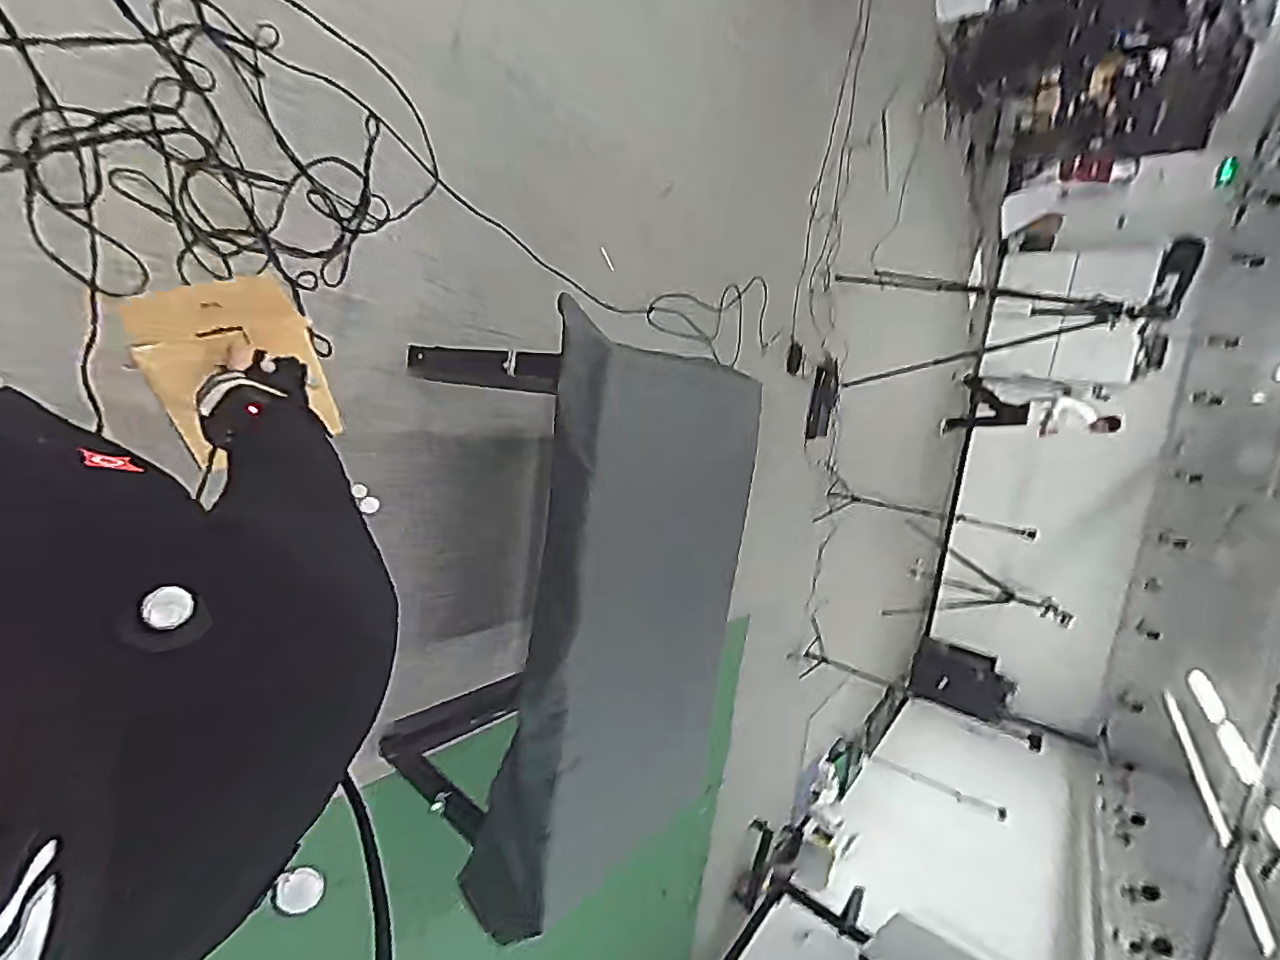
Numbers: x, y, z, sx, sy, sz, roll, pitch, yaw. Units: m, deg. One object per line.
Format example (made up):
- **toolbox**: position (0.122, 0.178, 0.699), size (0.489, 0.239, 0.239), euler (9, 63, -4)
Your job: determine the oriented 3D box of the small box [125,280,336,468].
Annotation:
- **small box**: position (-0.523, -0.142, 0.703), size (0.168, 0.179, 0.176), euler (-23, 135, -30)
